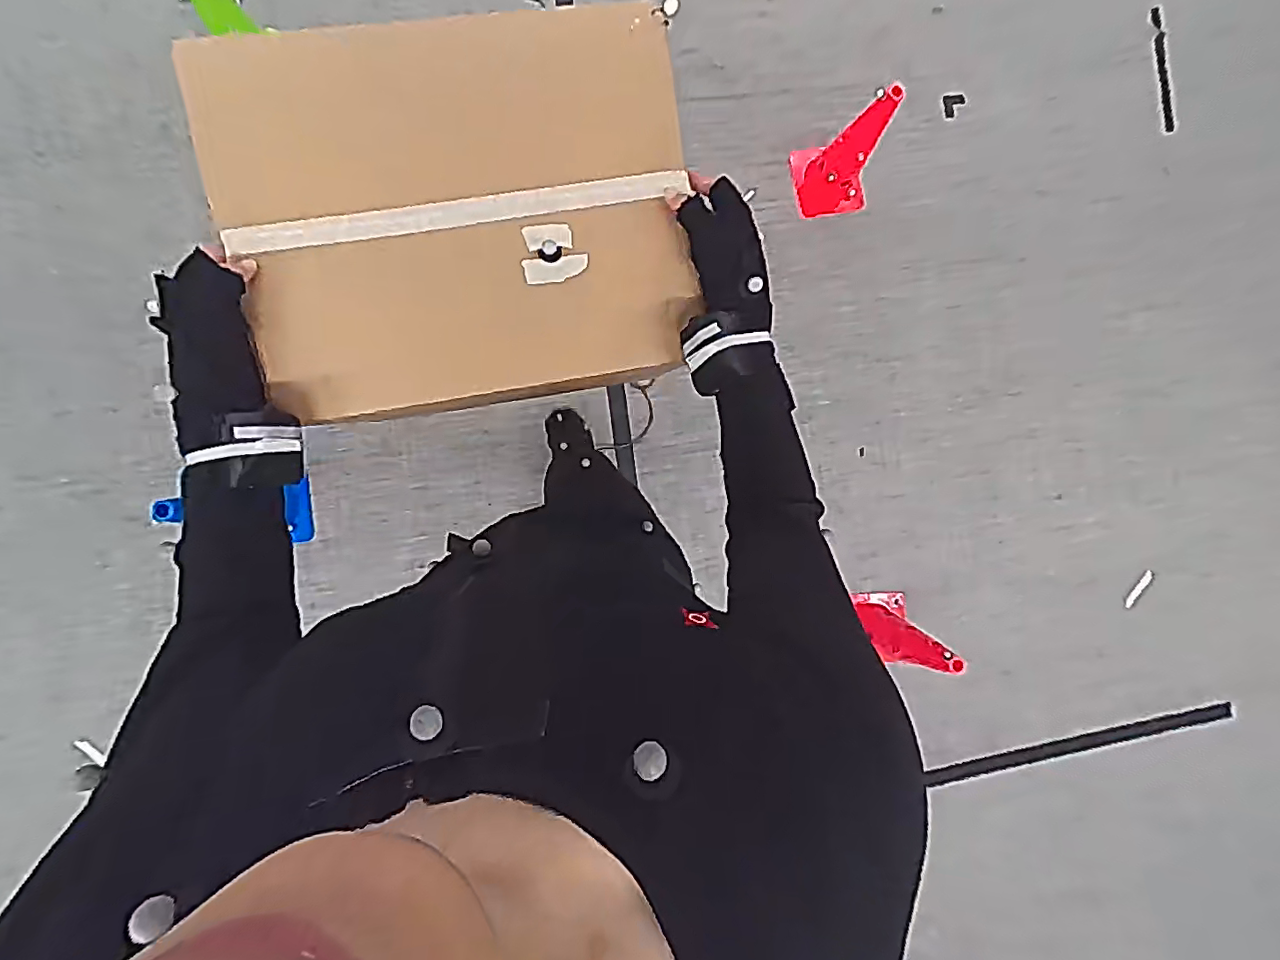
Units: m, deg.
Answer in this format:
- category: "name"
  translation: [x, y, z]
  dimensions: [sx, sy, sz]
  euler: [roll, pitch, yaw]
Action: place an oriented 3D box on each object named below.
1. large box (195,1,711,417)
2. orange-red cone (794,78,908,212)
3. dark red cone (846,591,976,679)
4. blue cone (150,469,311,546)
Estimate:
- category: "large box"
  translation: [-0.171, -0.261, 0.632]
  dimensions: [0.408, 0.320, 0.320]
  euler: [-11, 99, -7]
- category: "orange-red cone"
  translation: [0.568, -0.885, 1.395]
  dimensions: [0.198, 0.360, 0.199]
  euler: [-11, 88, -7]
- category: "dark red cone"
  translation: [0.690, 0.409, 1.352]
  dimensions: [0.201, 0.394, 0.202]
  euler: [-3, 89, -5]
- category: "blue cone"
  translation: [-0.941, 0.065, 1.237]
  dimensions: [0.192, 0.380, 0.193]
  euler: [-5, 89, -5]
